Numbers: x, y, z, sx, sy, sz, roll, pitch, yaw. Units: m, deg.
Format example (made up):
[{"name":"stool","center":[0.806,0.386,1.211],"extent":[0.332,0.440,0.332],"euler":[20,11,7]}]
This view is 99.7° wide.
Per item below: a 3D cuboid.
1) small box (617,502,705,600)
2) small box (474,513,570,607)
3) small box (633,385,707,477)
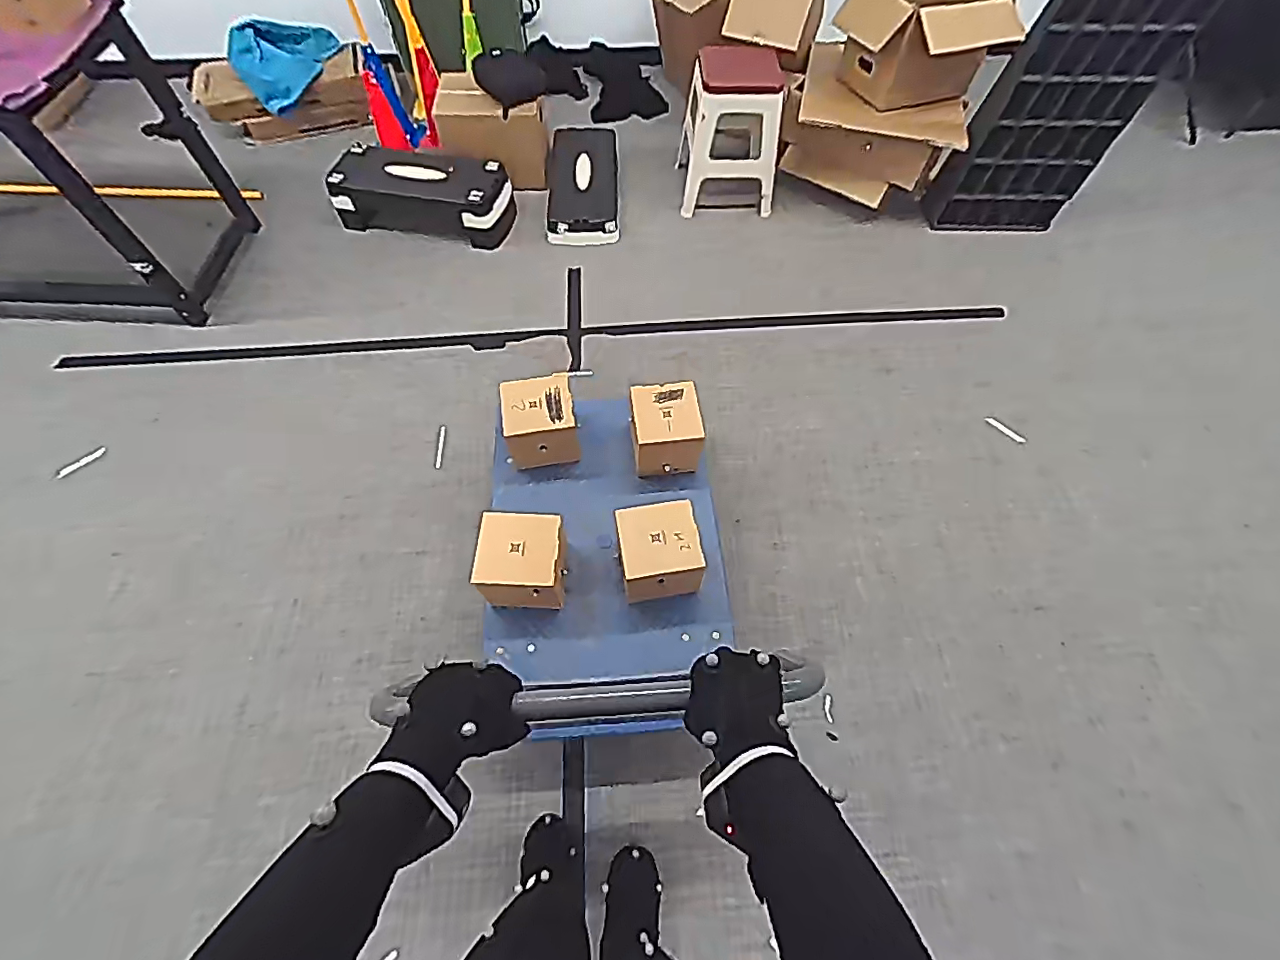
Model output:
[{"name":"small box","center":[0.045,0.170,1.254],"extent":[0.179,0.176,0.168],"euler":[-8,62,-5]},{"name":"small box","center":[-0.261,0.187,1.240],"extent":[0.179,0.176,0.168],"euler":[3,61,-1]},{"name":"small box","center":[0.072,-0.126,1.415],"extent":[0.168,0.176,0.179],"euler":[-5,63,-4]}]
